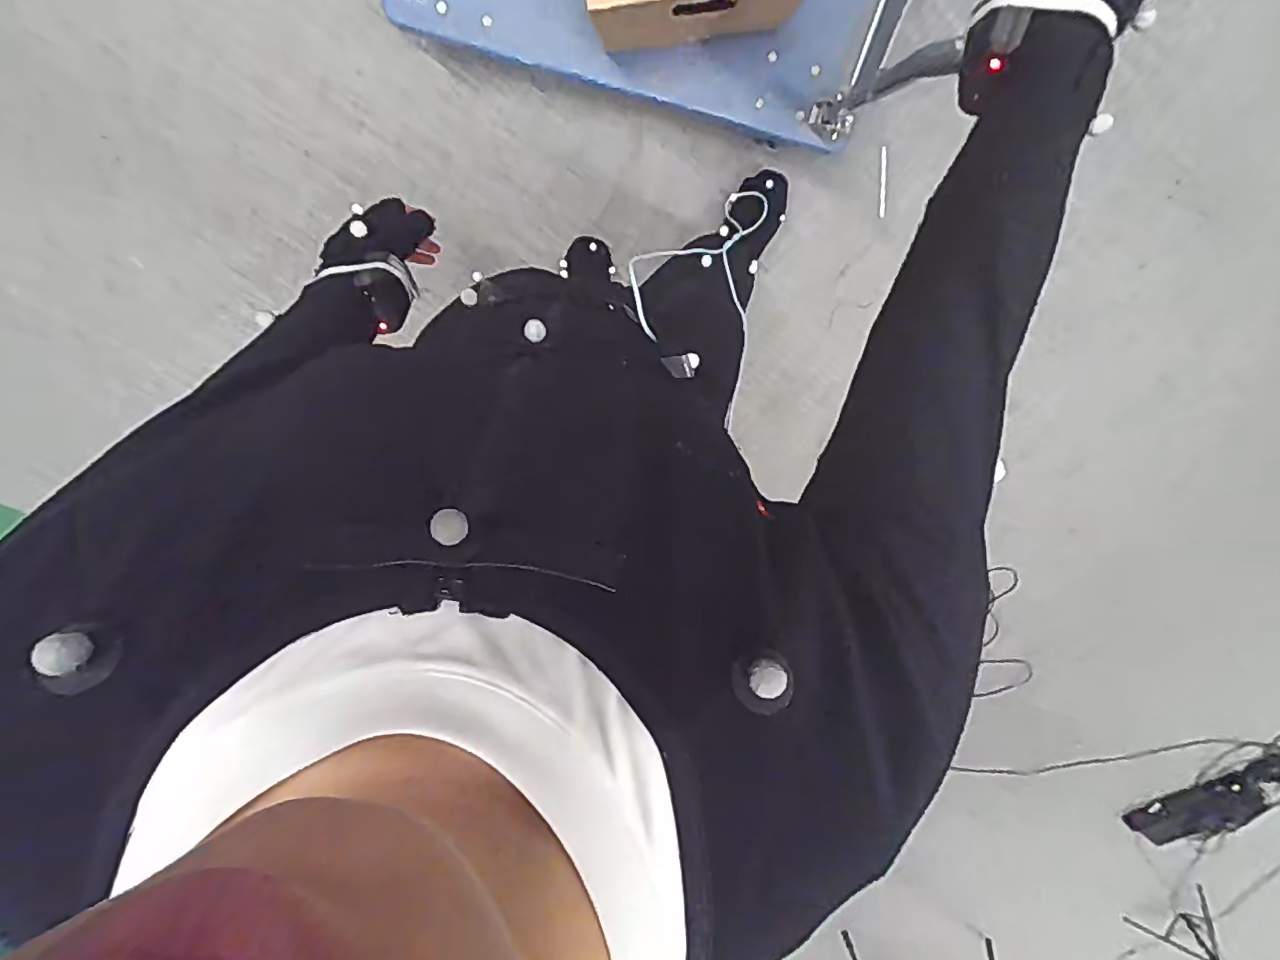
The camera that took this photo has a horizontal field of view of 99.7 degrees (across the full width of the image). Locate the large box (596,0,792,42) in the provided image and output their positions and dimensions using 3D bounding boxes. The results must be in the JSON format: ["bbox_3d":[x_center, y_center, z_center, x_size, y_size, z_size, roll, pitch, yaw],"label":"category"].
[{"bbox_3d":[0.067,-0.876,0.710,0.320,0.320,0.408,-5,121,5],"label":"large box"}]
